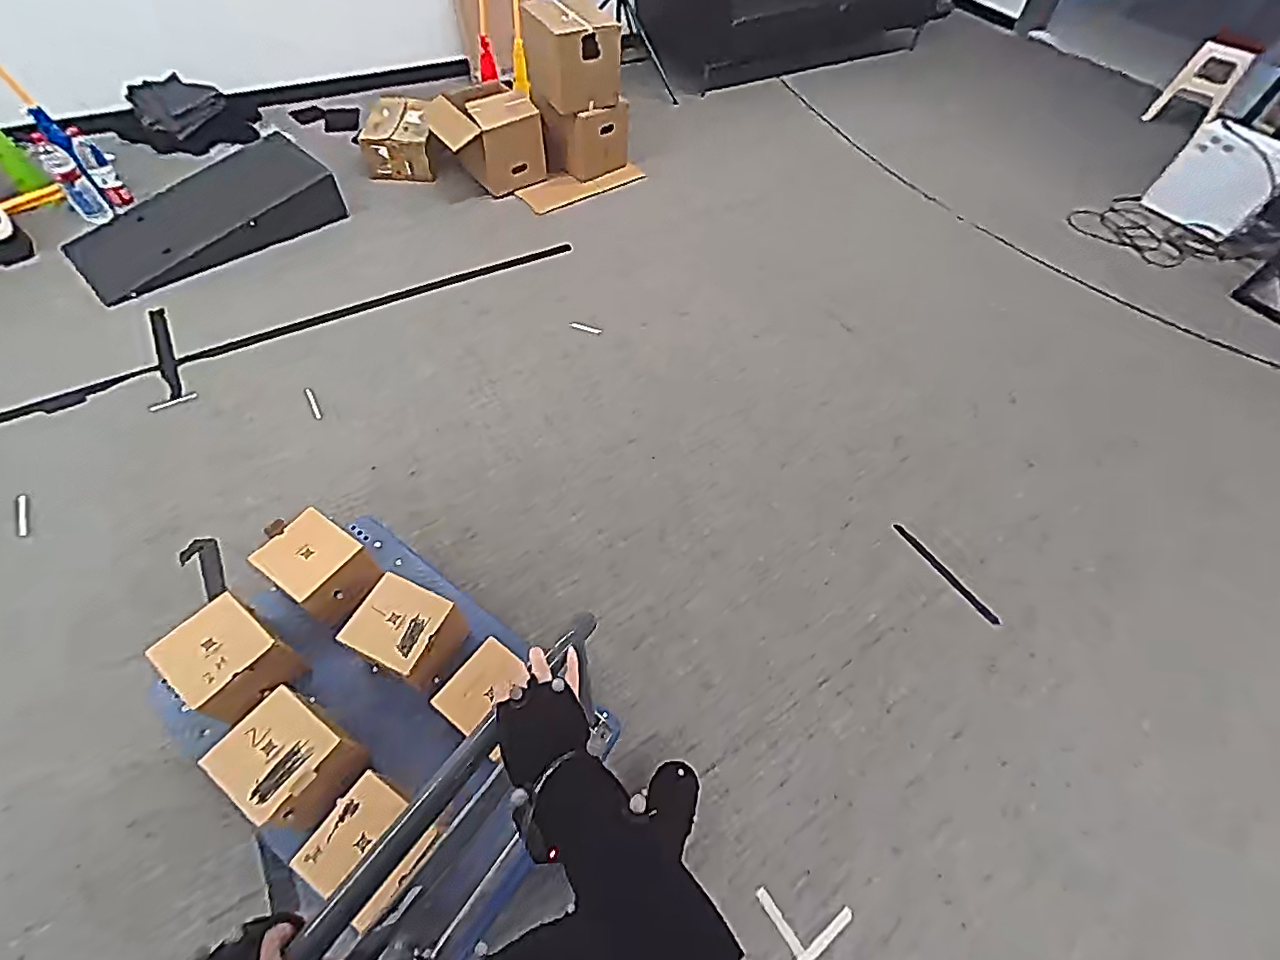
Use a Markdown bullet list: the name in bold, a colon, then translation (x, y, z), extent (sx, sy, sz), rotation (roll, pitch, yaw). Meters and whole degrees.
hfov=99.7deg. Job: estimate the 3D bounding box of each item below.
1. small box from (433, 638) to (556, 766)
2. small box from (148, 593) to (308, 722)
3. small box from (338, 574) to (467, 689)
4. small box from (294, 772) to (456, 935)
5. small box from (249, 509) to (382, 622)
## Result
- **small box**: translation (-0.287, 0.464, 1.116), extent (0.179, 0.176, 0.168), rotation (33, 58, 17)
- **small box**: translation (-0.839, 0.373, 1.118), extent (0.179, 0.176, 0.168), rotation (35, 60, 16)
- **small box**: translation (-0.503, 0.337, 1.179), extent (0.179, 0.176, 0.168), rotation (22, 57, 10)
- **small box**: translation (-0.458, 0.657, 0.966), extent (0.179, 0.176, 0.168), rotation (30, 57, 14)
- **small box**: translation (-0.733, 0.205, 1.245), extent (0.179, 0.176, 0.168), rotation (30, 58, 14)
